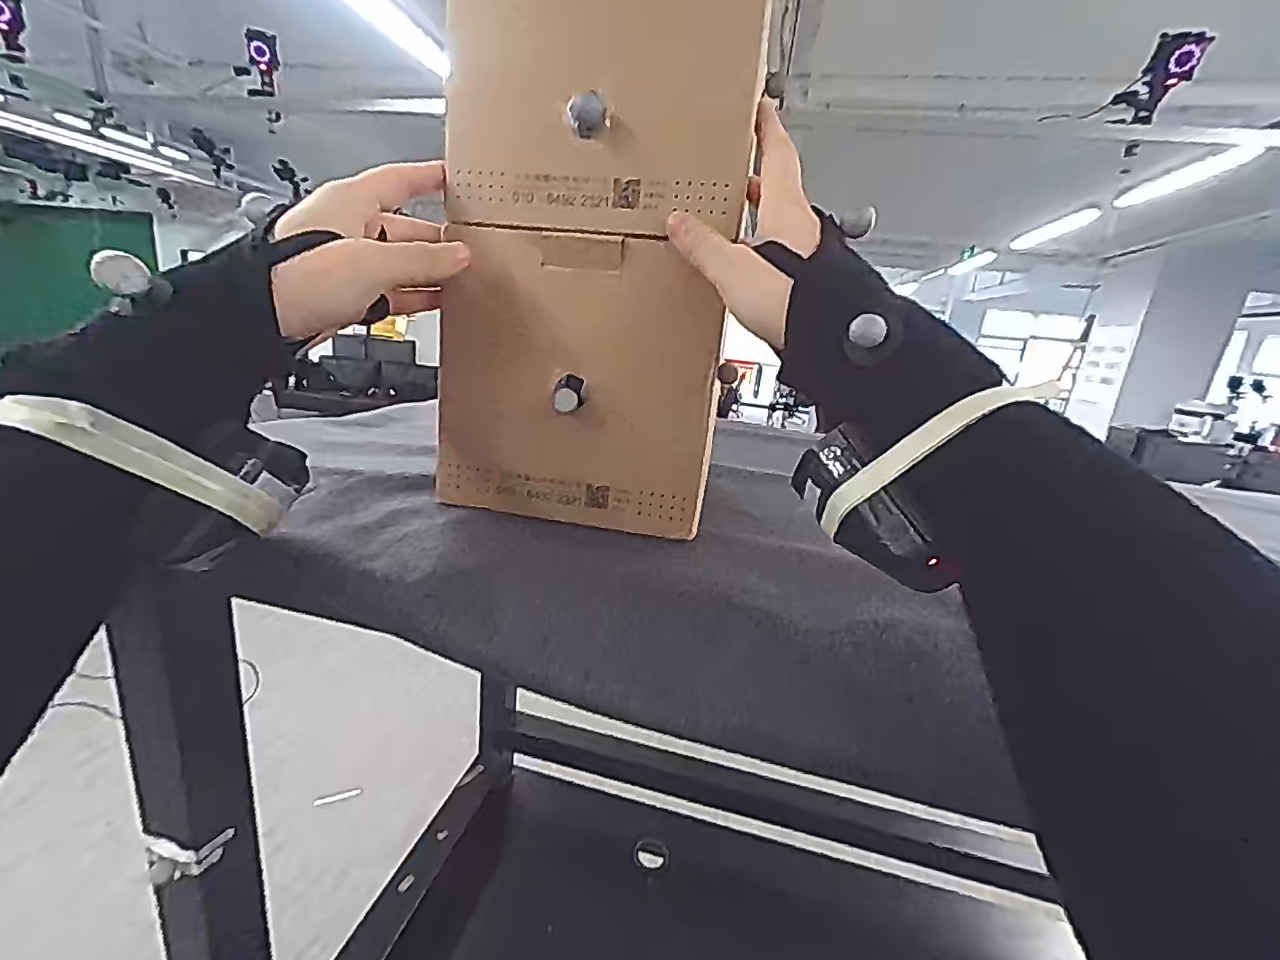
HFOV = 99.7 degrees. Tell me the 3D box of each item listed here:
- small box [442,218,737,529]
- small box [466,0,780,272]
[{"bbox_3d":[-0.024,-0.074,0.389,0.168,0.176,0.179,9,14,7],"label":"small box"},{"bbox_3d":[-0.003,-0.234,0.351,0.168,0.176,0.179,7,14,8],"label":"small box"}]
